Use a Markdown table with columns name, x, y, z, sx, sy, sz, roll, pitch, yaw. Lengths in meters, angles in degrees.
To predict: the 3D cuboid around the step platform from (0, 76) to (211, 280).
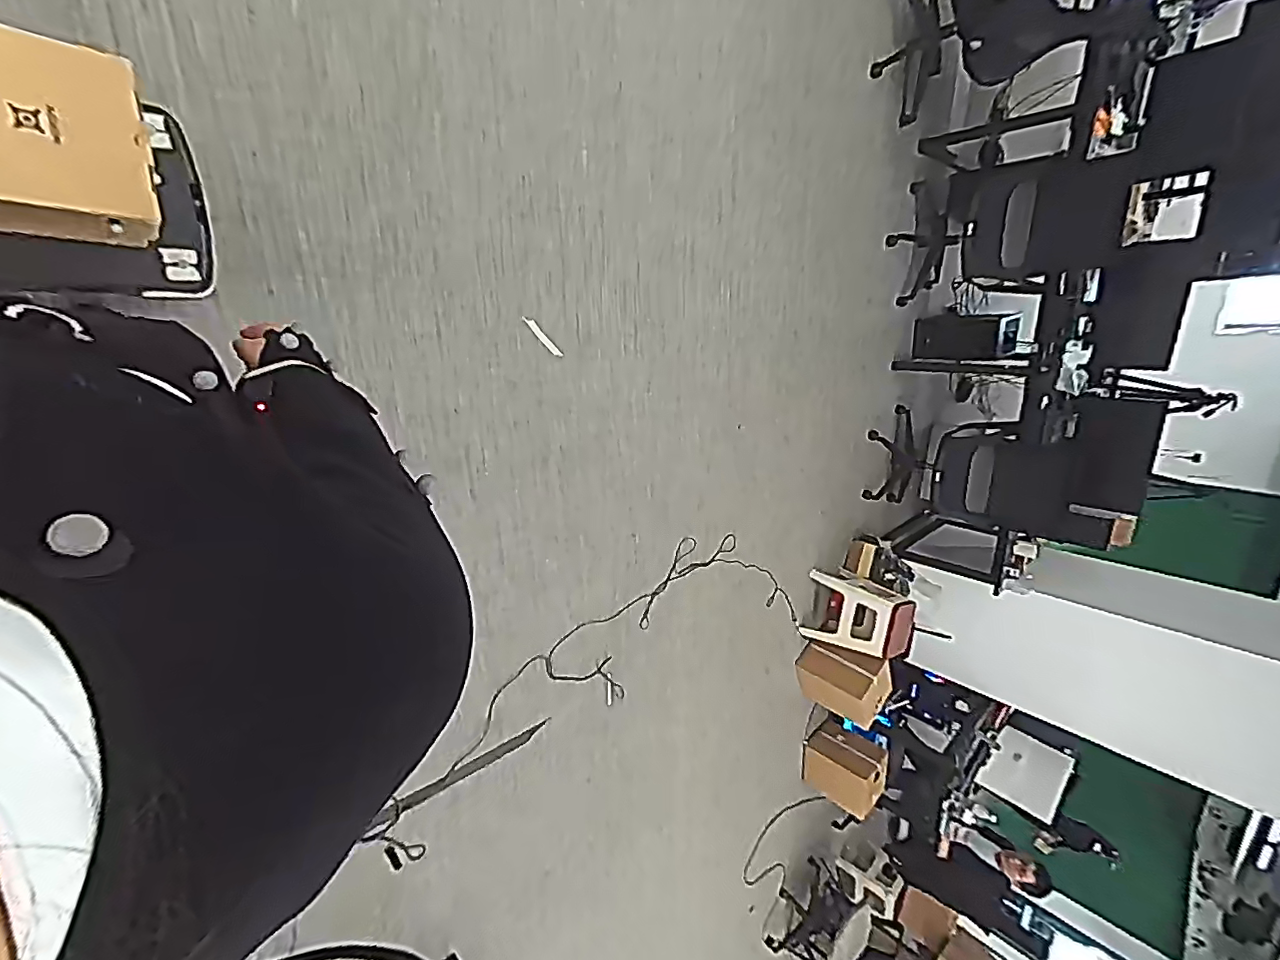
| name | x | y | z | sx | sy | sz | roll | pitch | yaw |
| --- | --- | --- | --- | --- | --- | --- | --- | --- | --- |
| step platform | -1.022 | -0.443 | 0.735 | 0.684 | 0.204 | 0.286 | -15 | 111 | -40 |

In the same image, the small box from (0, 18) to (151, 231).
| name | x | y | z | sx | sy | sz | roll | pitch | yaw |
| --- | --- | --- | --- | --- | --- | --- | --- | --- | --- |
| small box | -0.680 | -0.388 | 0.605 | 0.179 | 0.176 | 0.168 | -12 | 109 | -43 |
